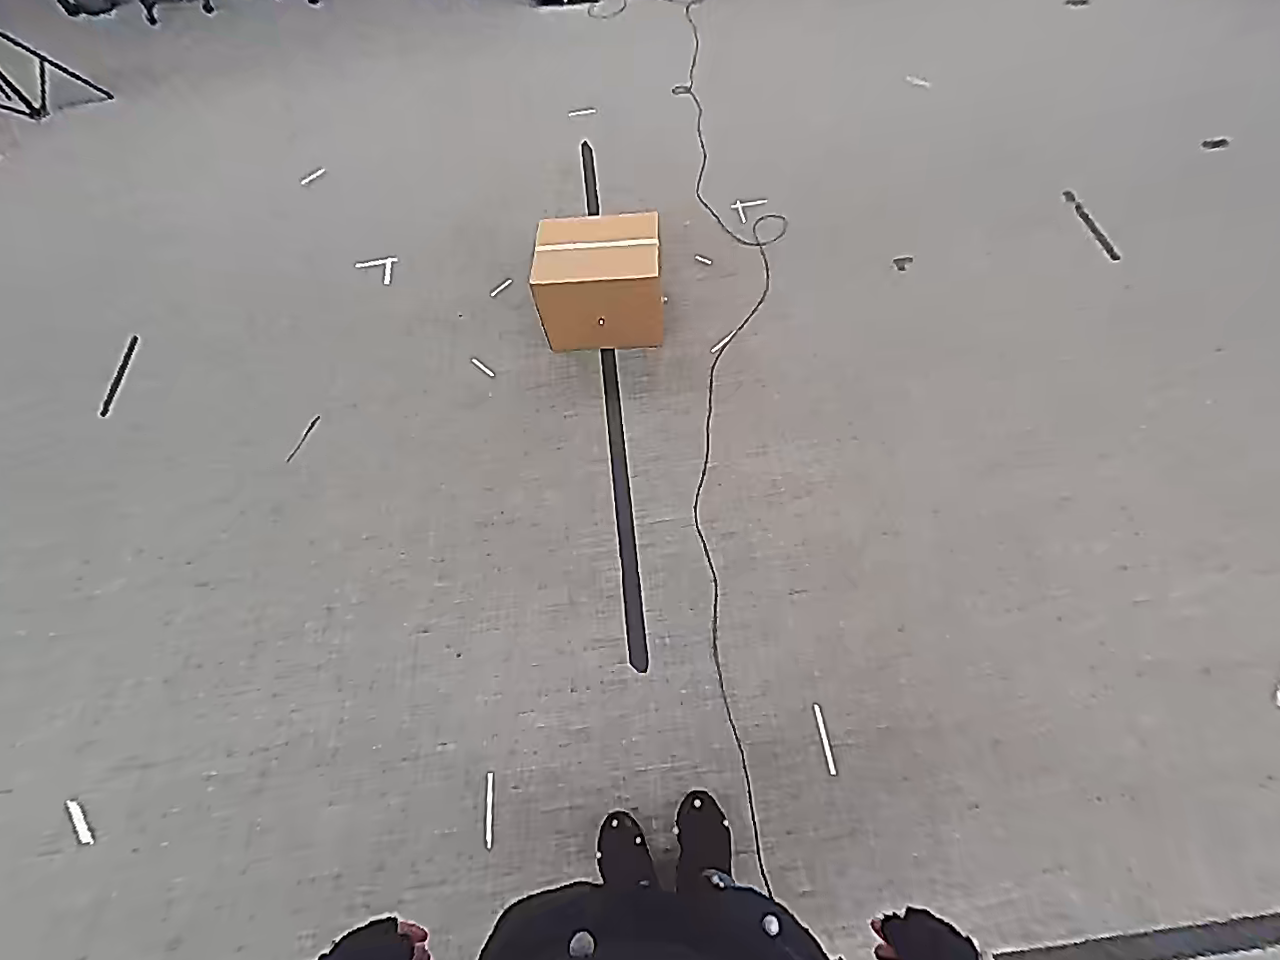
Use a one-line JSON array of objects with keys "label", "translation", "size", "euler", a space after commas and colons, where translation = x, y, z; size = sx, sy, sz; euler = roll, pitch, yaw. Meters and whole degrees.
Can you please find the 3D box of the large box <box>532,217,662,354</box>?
[{"label": "large box", "translation": [-0.130, -0.659, 1.859], "size": [0.408, 0.320, 0.320], "euler": [-1, 62, 4]}]
